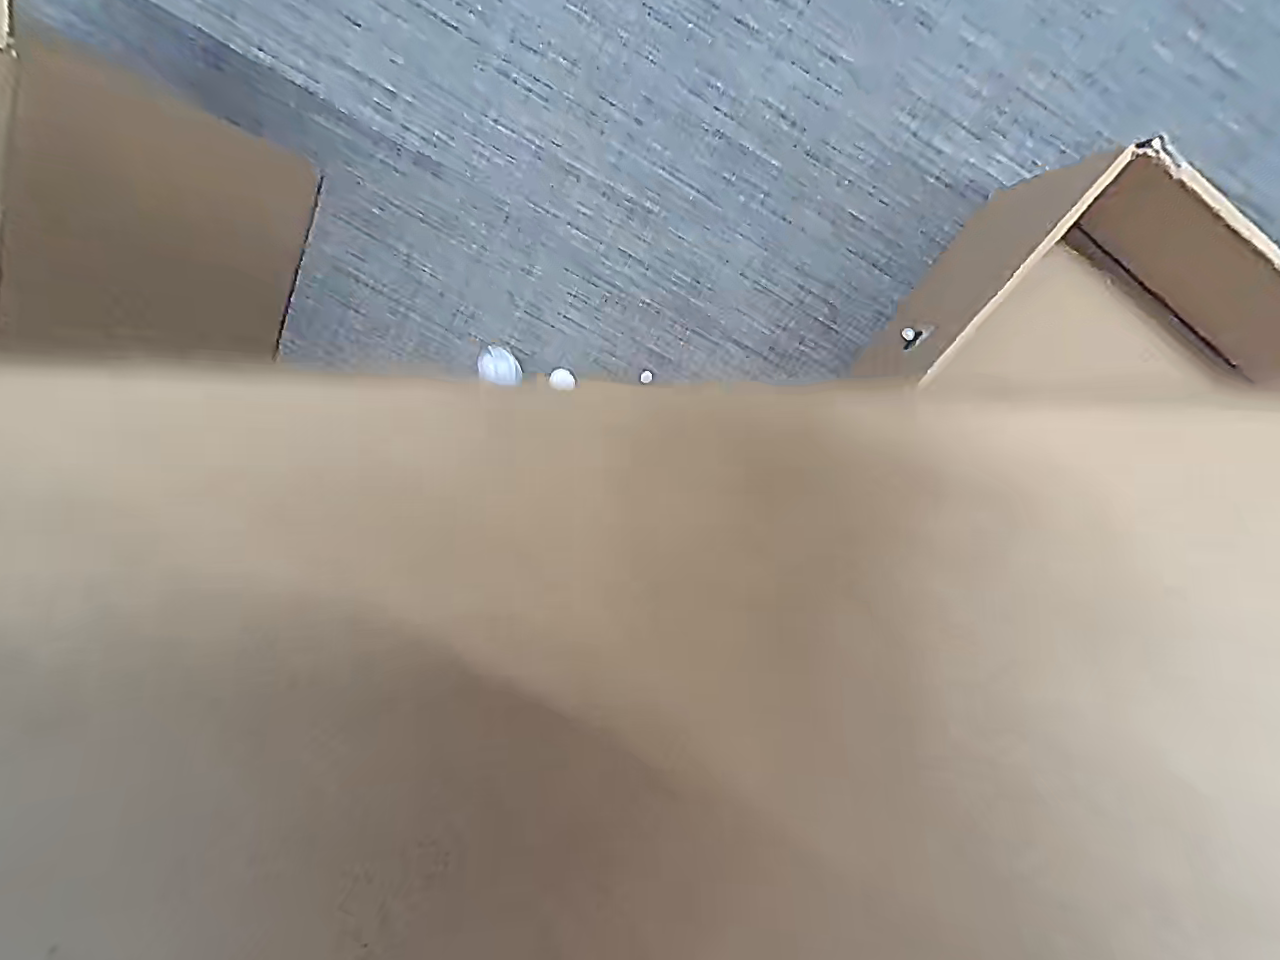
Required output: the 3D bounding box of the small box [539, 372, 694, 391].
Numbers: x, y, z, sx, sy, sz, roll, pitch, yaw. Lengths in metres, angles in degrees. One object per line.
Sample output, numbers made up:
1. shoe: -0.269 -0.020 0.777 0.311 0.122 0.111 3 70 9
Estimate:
1. small box: -0.016 -0.020 0.592 0.168 0.176 0.179 6 99 3
